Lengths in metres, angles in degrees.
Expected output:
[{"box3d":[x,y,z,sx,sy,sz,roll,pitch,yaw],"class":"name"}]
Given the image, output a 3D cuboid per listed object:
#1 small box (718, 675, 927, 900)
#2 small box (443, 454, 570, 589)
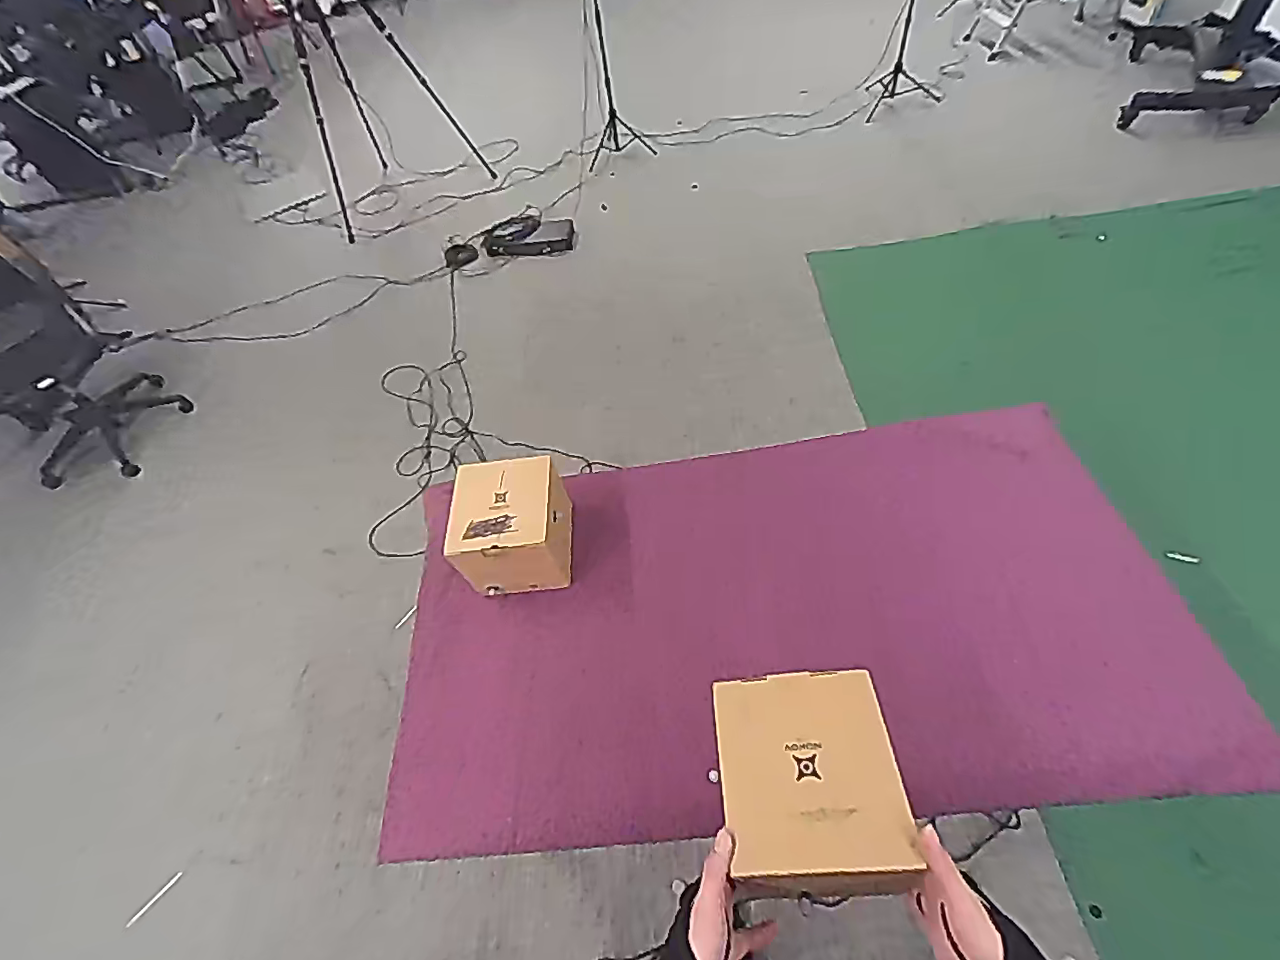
[{"box3d":[0.176,0.329,0.577,0.168,0.176,0.179,-8,48,8],"class":"small box"},{"box3d":[-0.218,0.080,0.936,0.168,0.176,0.179,-6,56,3],"class":"small box"}]
